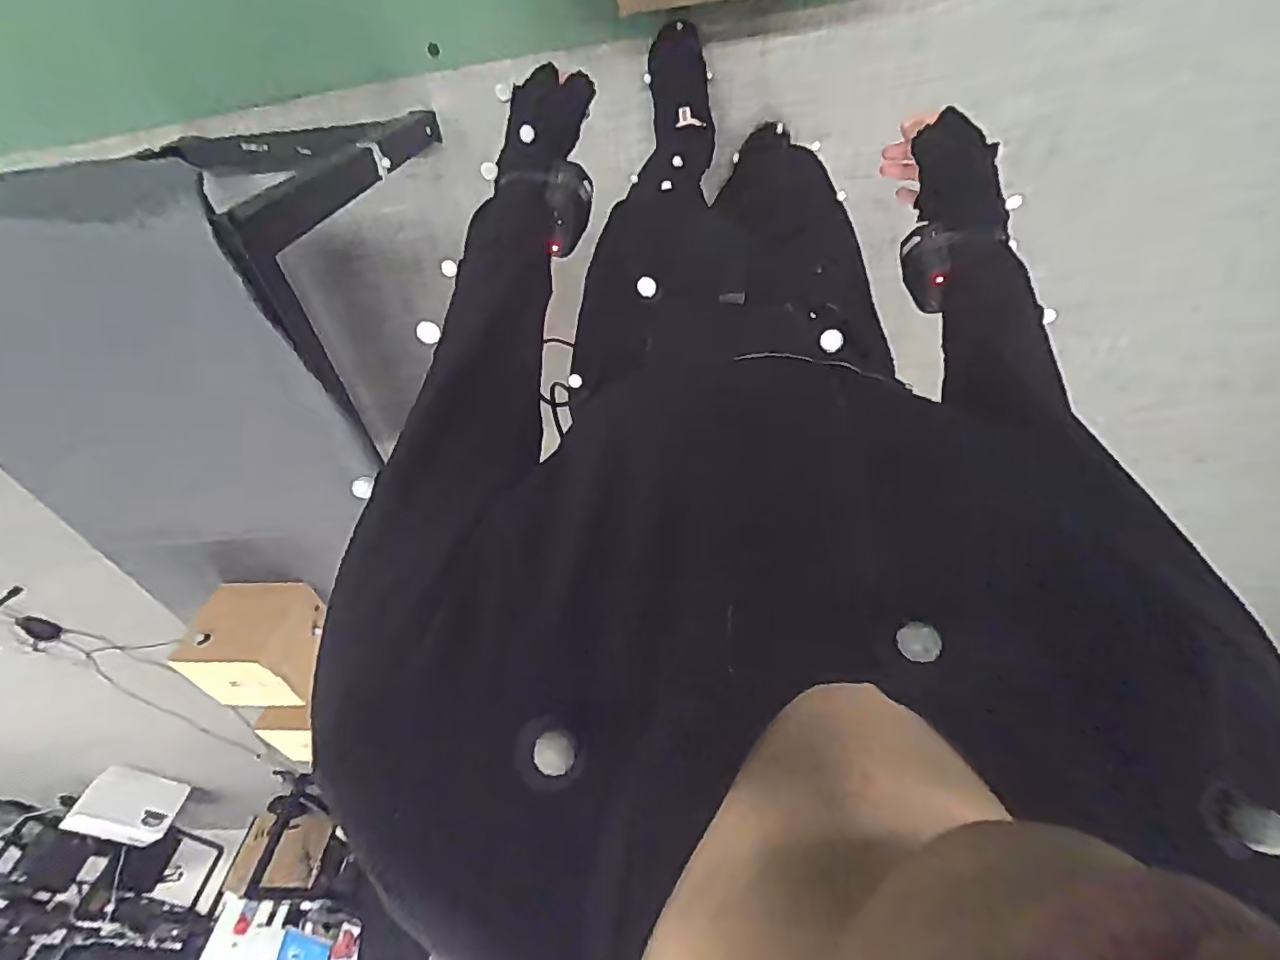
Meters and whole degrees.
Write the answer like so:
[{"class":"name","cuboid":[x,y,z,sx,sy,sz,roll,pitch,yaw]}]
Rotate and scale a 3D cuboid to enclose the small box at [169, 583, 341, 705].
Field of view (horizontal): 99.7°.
[{"class":"small box","cuboid":[-0.718,0.310,1.033,0.179,0.176,0.168,-2,133,4]}]
